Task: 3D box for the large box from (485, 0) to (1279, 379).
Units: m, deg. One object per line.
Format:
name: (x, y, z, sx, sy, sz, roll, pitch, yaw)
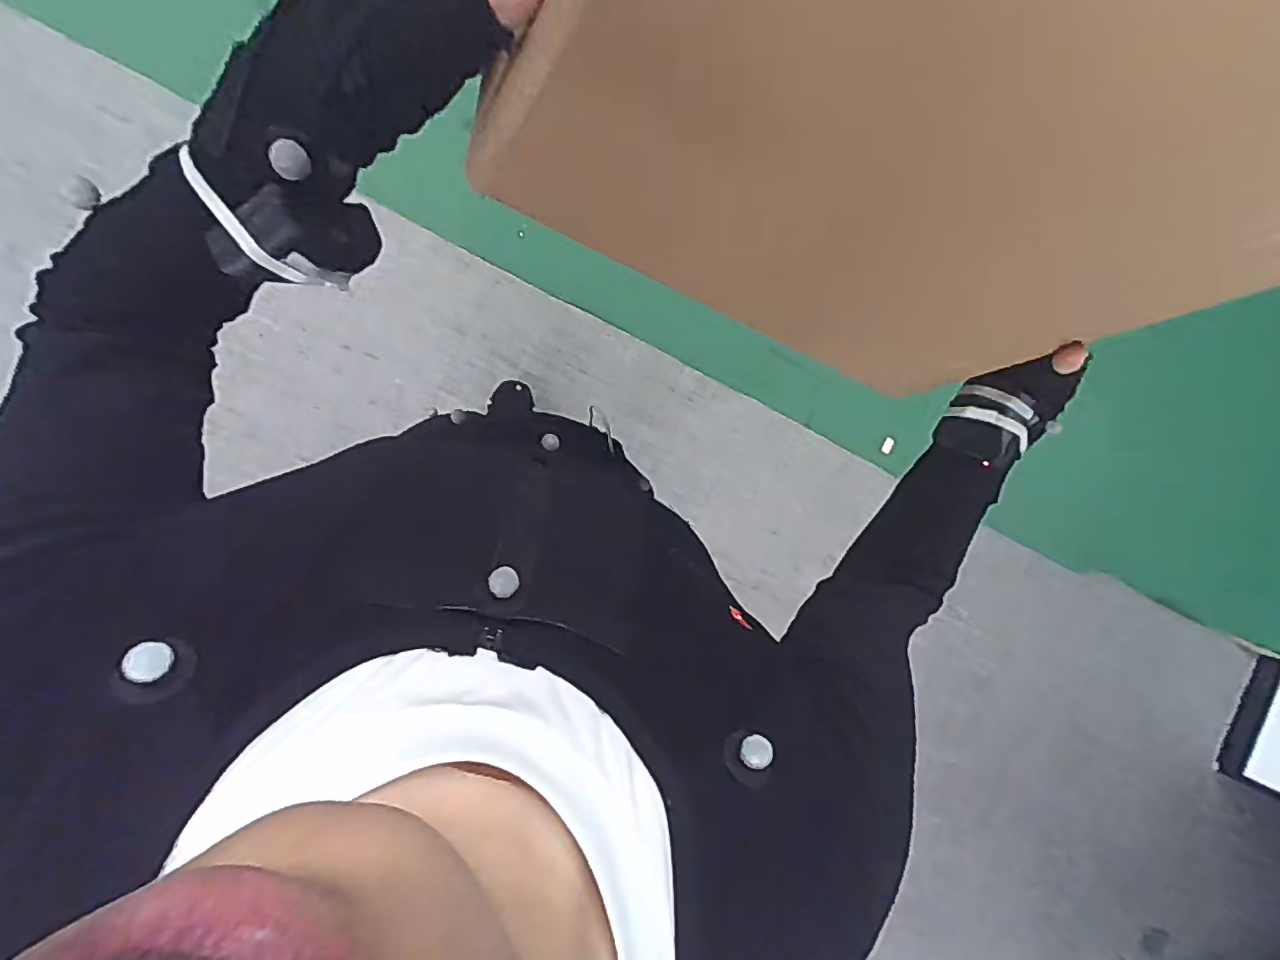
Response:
large box: (0.169, -0.296, 0.309, 0.408, 0.320, 0.320, 14, 74, -34)
